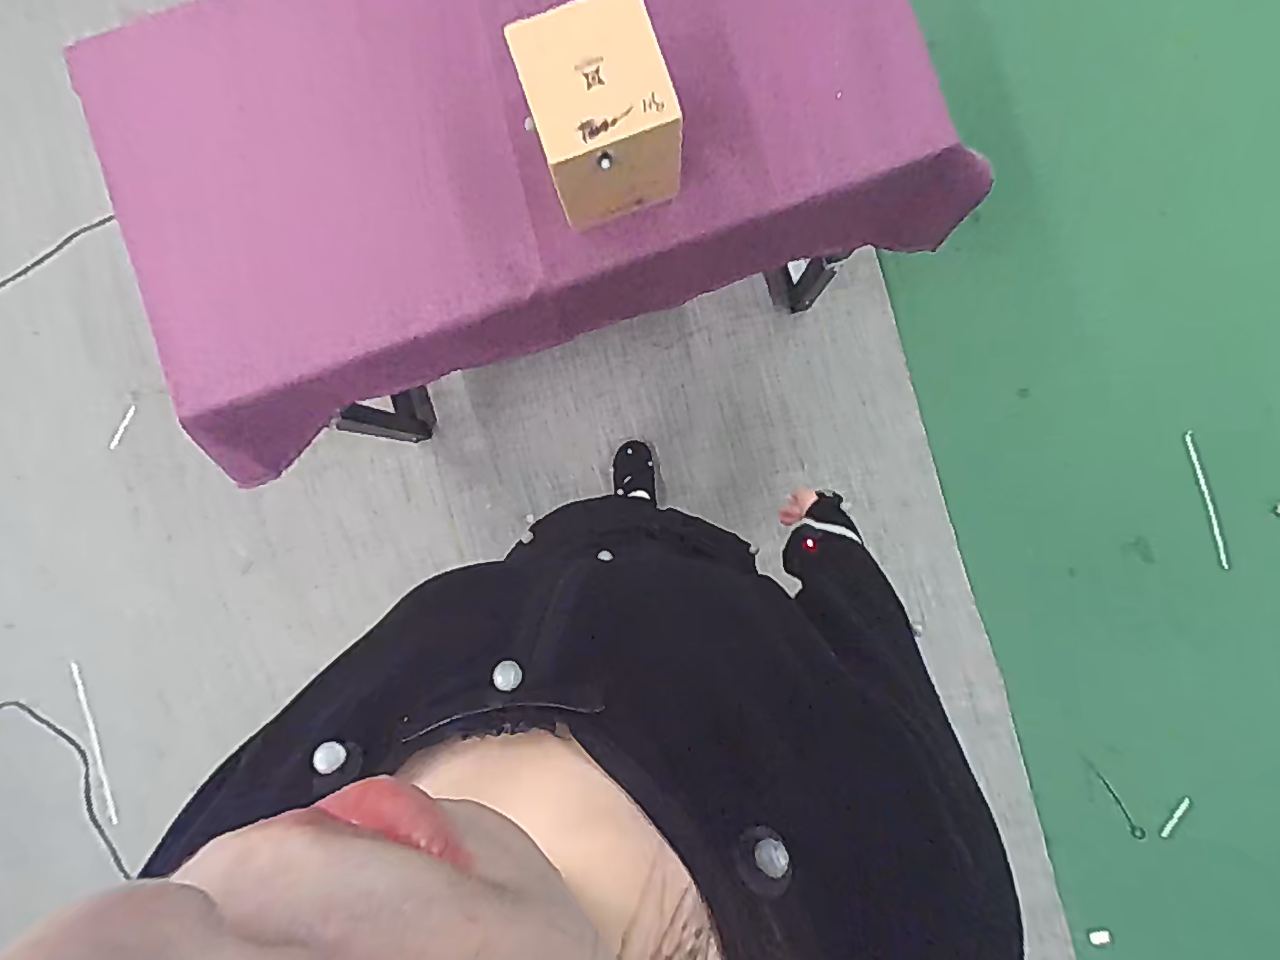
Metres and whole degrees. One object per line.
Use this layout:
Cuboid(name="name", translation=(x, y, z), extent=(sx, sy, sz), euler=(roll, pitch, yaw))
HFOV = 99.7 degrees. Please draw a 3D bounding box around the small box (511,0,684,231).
Cuboid(name="small box", translation=(-0.047, -0.466, 0.708), extent=(0.168, 0.176, 0.179), euler=(-18, 88, 4))
